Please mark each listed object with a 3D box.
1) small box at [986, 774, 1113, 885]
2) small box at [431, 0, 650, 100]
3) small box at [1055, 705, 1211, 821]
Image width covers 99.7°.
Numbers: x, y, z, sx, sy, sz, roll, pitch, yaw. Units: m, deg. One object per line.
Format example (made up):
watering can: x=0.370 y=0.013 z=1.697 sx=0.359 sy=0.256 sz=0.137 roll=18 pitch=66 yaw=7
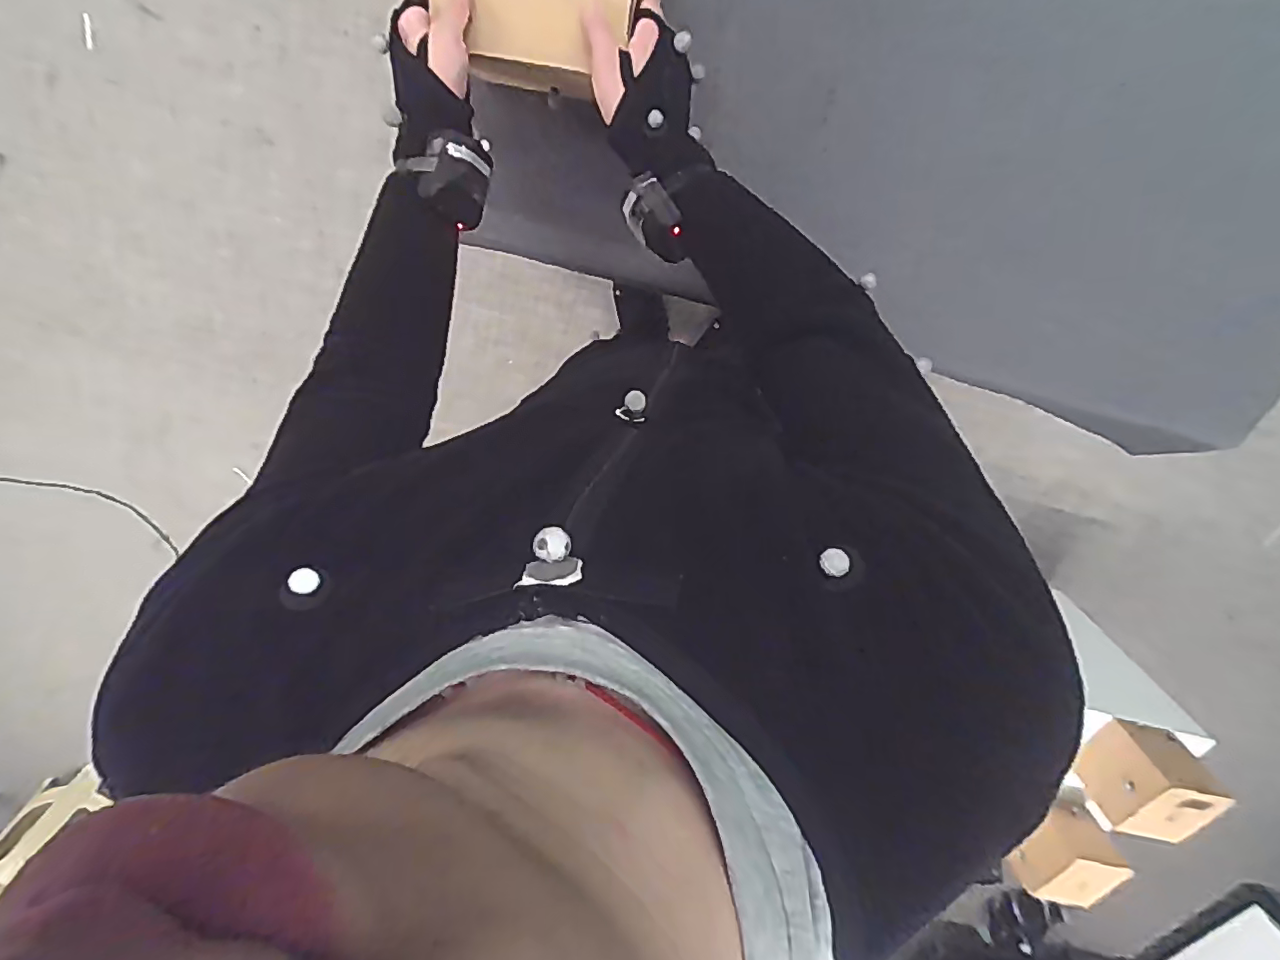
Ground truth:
small box: x=1.052 y=0.910 z=1.412 sx=0.168 sy=0.176 sz=0.179 roll=17 pitch=116 yaw=-10
small box: x=-0.076 y=-0.467 z=0.494 sx=0.179 sy=0.176 sz=0.168 roll=9 pitch=118 yaw=-3
small box: x=1.142 y=0.661 z=1.272 sx=0.168 sy=0.176 sz=0.179 roll=15 pitch=120 yaw=-8
